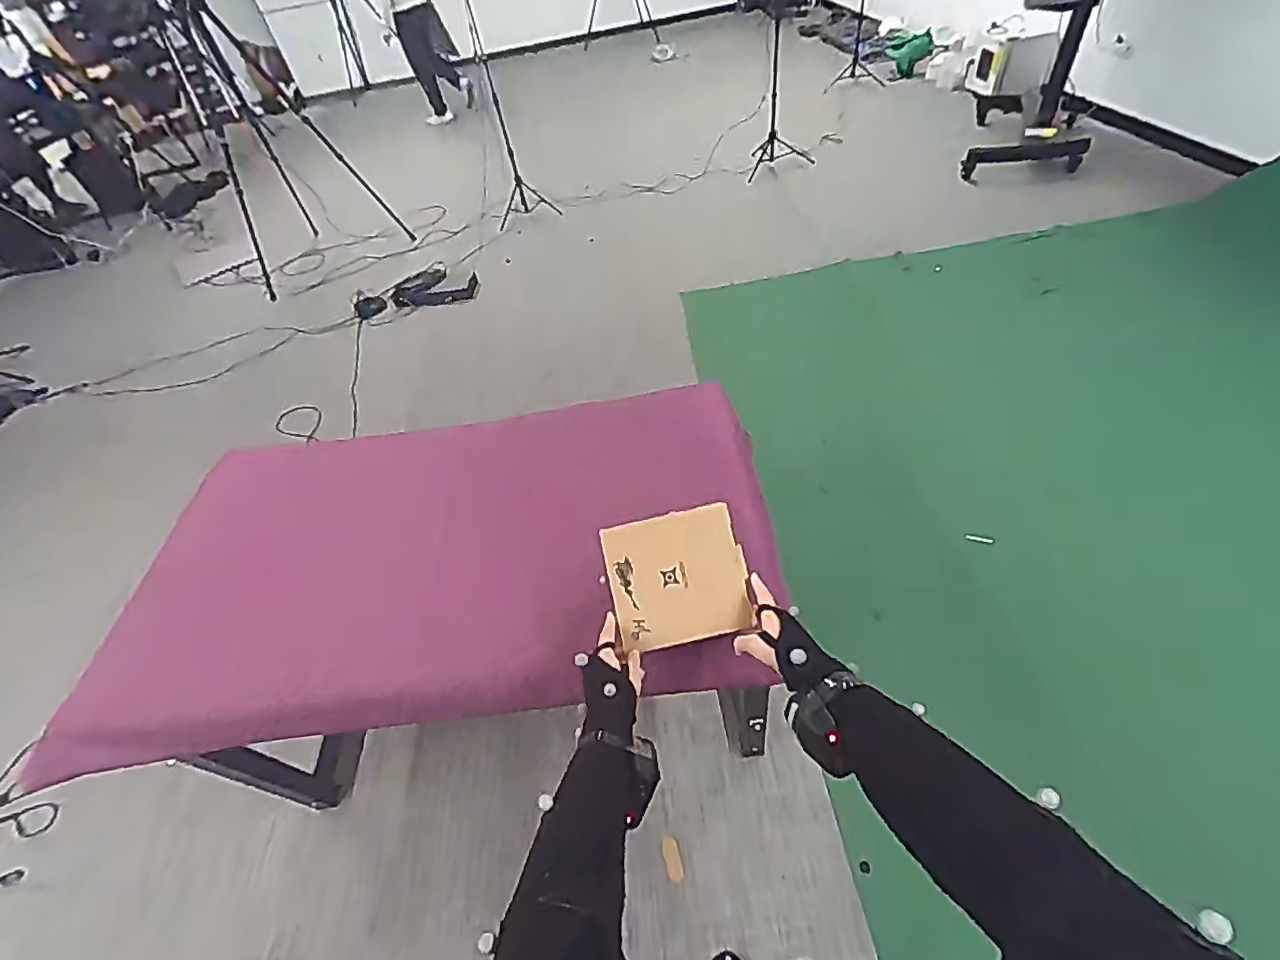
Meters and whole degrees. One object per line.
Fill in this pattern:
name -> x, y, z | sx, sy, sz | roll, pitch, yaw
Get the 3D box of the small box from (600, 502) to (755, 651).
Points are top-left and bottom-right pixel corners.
small box -> 0.049, 0.141, 0.778 | 0.179, 0.176, 0.168 | -13, 75, 0
